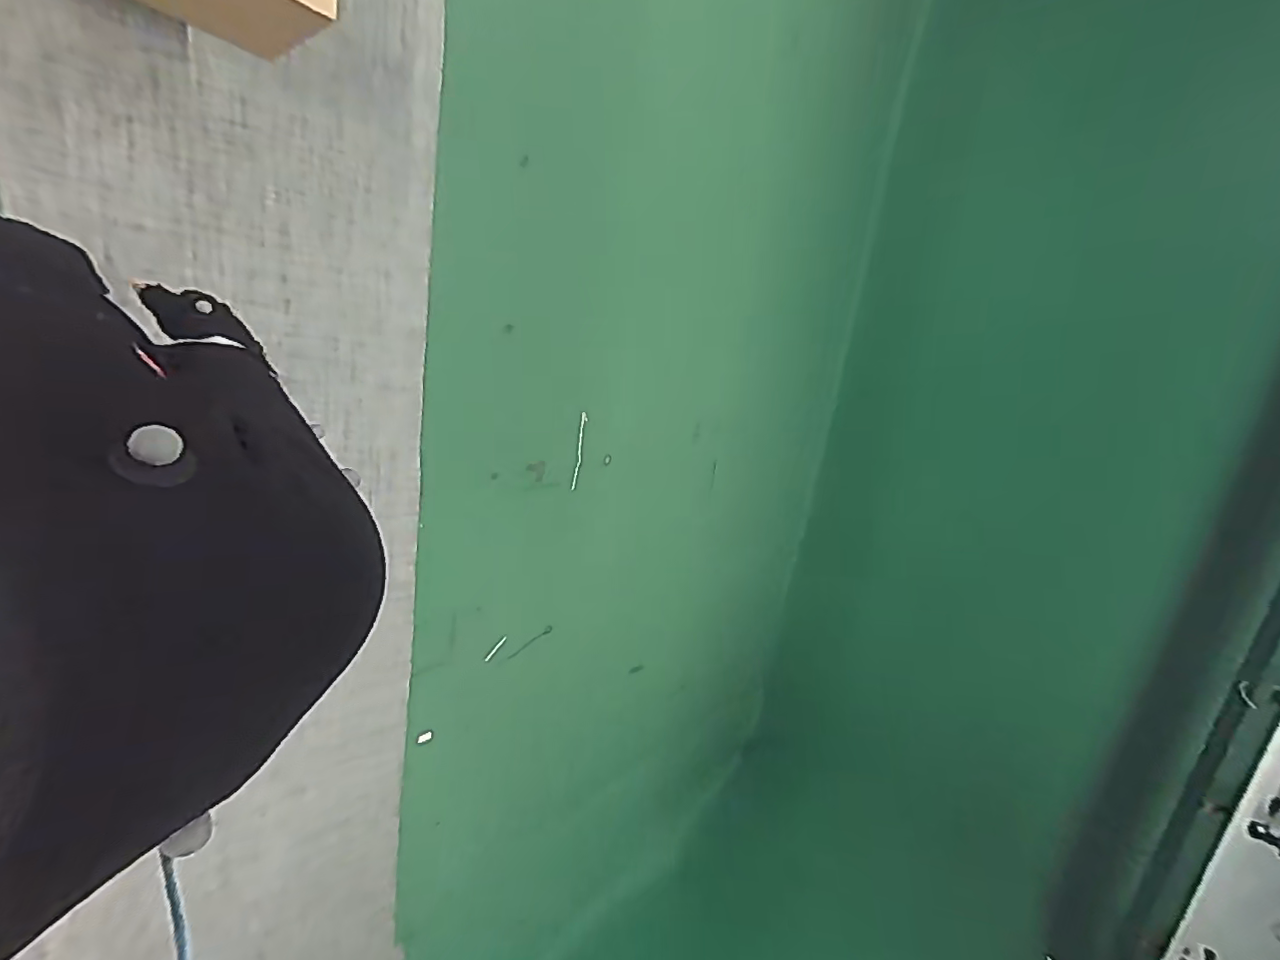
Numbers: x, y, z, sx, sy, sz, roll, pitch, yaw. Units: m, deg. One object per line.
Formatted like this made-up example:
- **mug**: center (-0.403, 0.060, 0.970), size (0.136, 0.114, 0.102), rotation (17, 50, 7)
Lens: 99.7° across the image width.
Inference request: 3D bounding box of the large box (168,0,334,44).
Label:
- **large box**: center (-0.687, -0.900, 0.745), size (0.408, 0.320, 0.320), rotation (-6, 110, -49)
